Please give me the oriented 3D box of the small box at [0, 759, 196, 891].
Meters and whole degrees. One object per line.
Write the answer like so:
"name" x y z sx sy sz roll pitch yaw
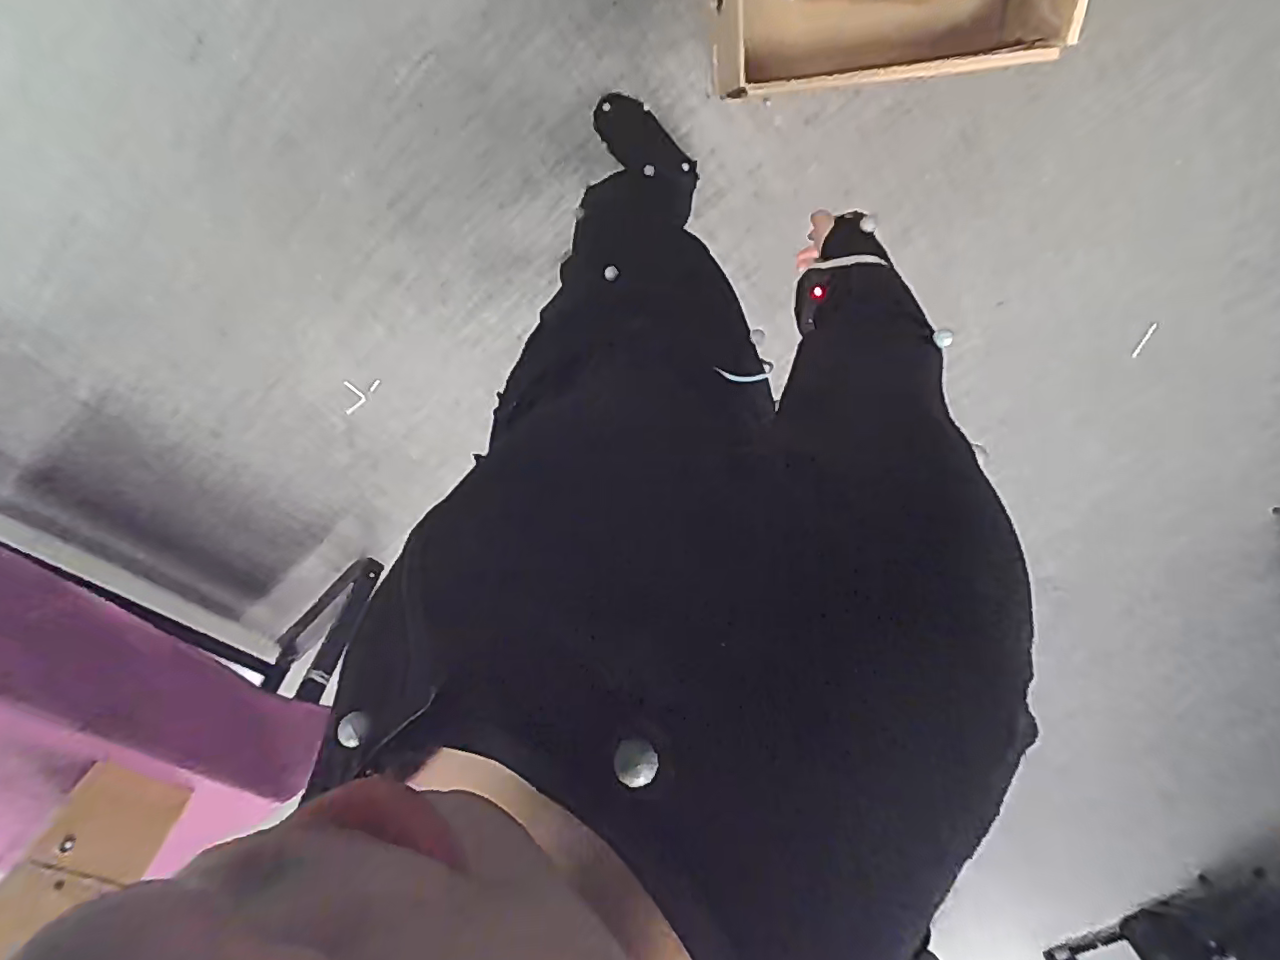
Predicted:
"small box" -0.983 0.649 0.995 0.168 0.176 0.179 -39 117 19

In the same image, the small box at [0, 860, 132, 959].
"small box" -0.974 0.739 0.858 0.179 0.176 0.168 -39 117 21

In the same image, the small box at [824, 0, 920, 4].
"small box" 0.290 -0.640 0.585 0.179 0.176 0.168 -1 123 -3
